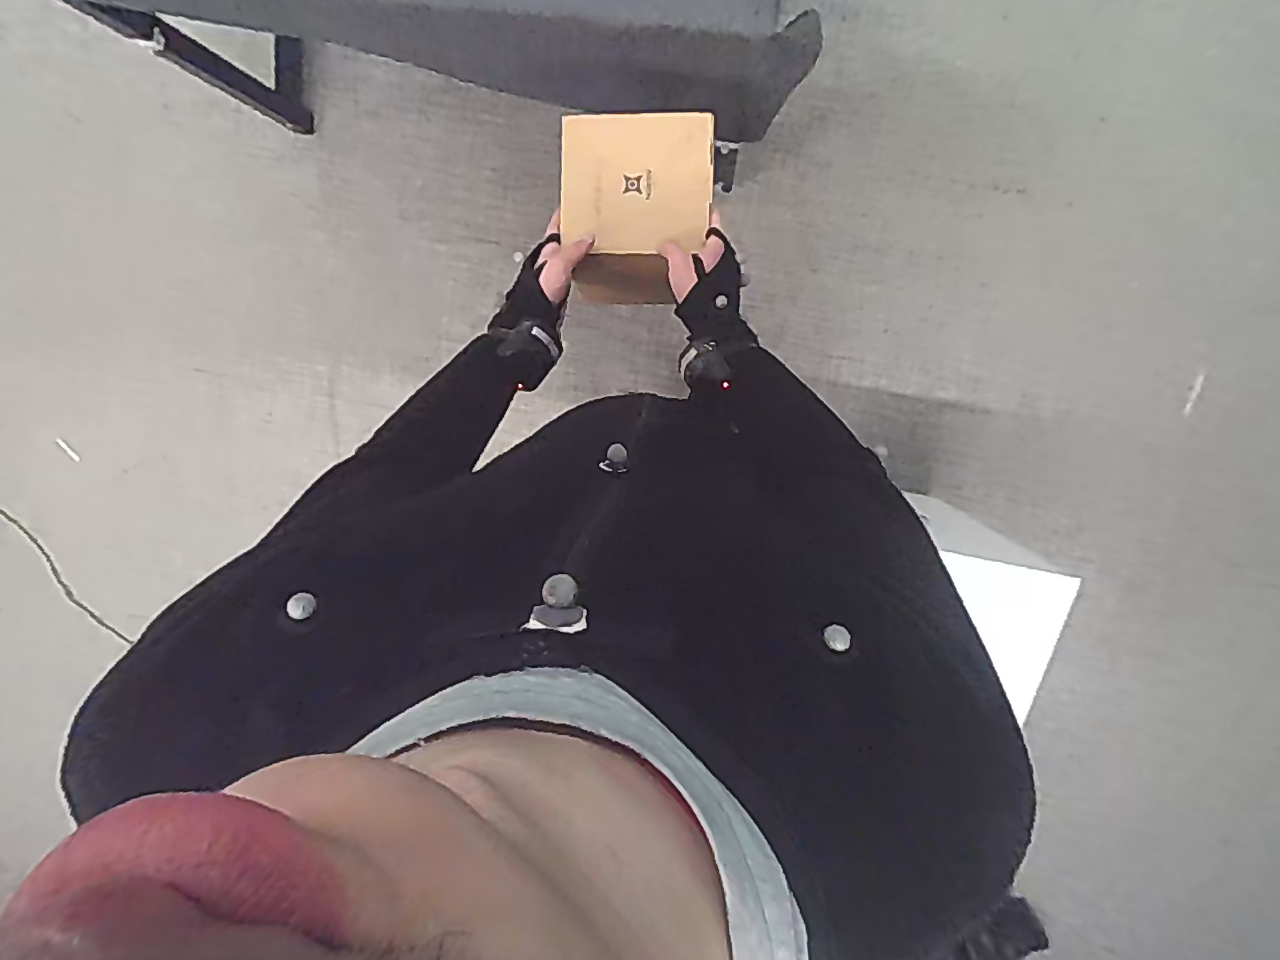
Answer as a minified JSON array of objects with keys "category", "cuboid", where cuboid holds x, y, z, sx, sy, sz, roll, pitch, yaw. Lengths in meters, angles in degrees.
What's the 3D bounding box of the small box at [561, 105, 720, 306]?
[{"category":"small box","cuboid":[0.002,-0.327,0.676,0.179,0.176,0.168,-2,87,3]}]
